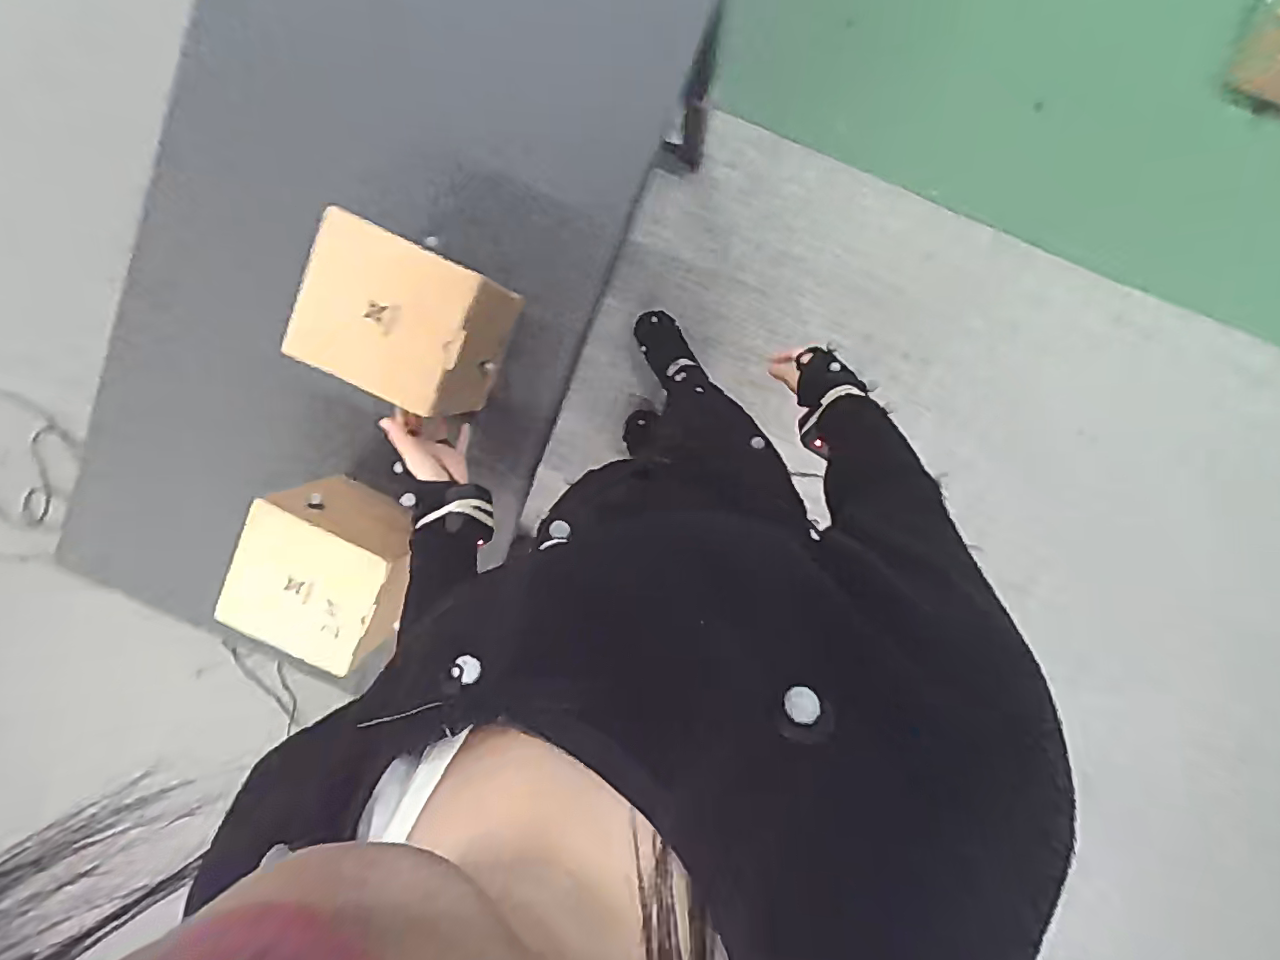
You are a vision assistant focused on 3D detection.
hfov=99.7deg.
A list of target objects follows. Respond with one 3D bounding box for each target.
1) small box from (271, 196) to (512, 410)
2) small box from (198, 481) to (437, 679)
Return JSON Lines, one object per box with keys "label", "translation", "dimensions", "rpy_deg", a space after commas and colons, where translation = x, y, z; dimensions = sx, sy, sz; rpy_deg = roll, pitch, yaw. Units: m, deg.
{"label": "small box", "translation": [-0.277, -0.193, 0.640], "dimensions": [0.179, 0.176, 0.168], "rpy_deg": [24, 100, -4]}
{"label": "small box", "translation": [-0.397, 0.113, 0.694], "dimensions": [0.179, 0.176, 0.168], "rpy_deg": [26, 100, -3]}
